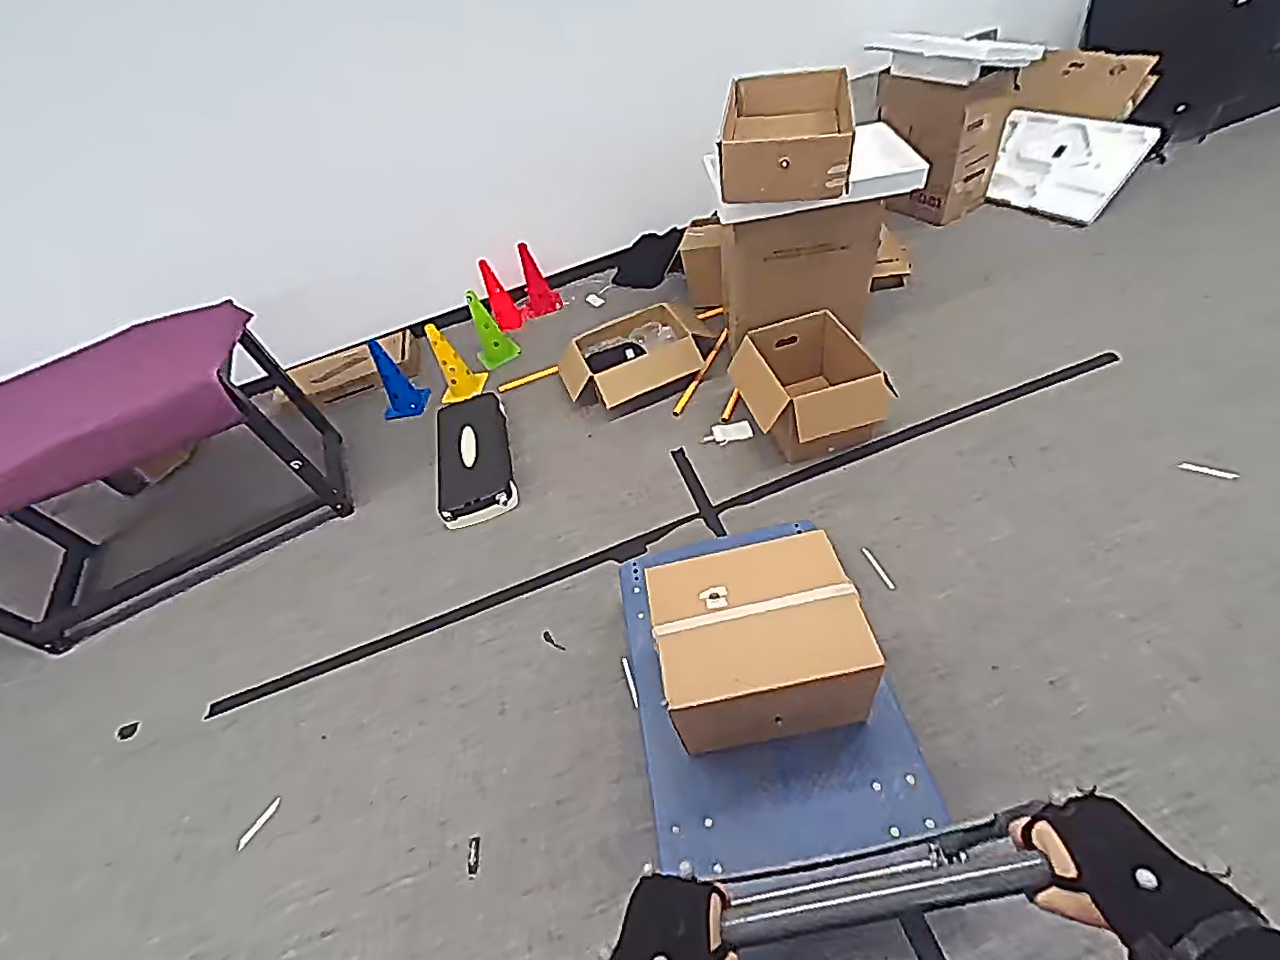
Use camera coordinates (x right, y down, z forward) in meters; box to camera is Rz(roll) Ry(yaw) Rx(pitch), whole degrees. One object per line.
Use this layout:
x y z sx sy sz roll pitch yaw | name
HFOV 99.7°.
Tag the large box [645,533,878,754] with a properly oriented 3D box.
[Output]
0.257 0.371 1.206 0.408 0.320 0.320 -15 46 3 | large box
